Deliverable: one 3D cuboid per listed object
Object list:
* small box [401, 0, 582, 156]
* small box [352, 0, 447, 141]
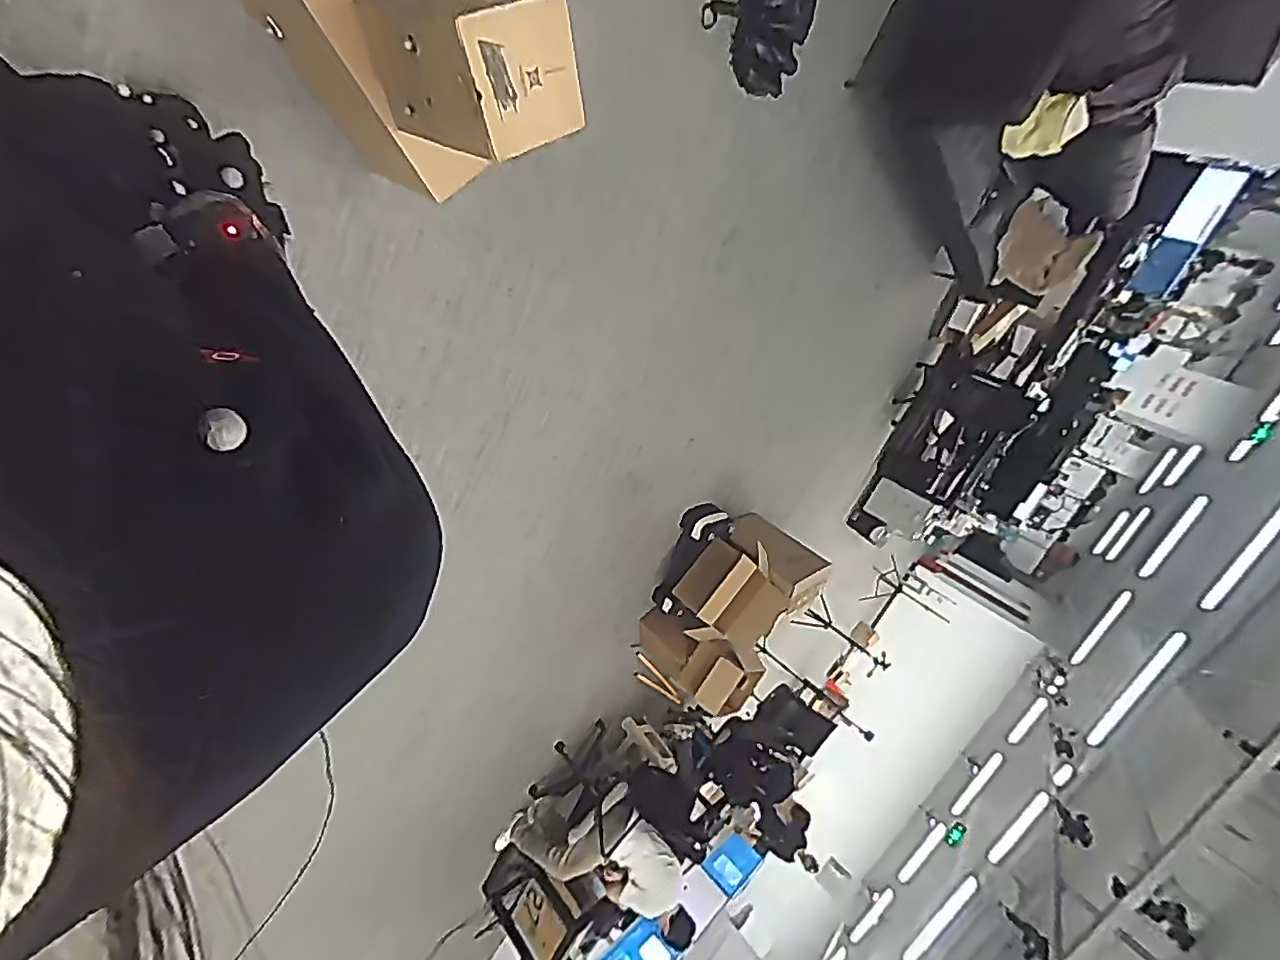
[{"bbox_3d":[-0.217,-0.601,0.785,0.179,0.176,0.168,-40,145,-20],"label":"small box"},{"bbox_3d":[-0.325,-0.683,0.877,0.168,0.176,0.179,-39,143,-23],"label":"small box"}]
